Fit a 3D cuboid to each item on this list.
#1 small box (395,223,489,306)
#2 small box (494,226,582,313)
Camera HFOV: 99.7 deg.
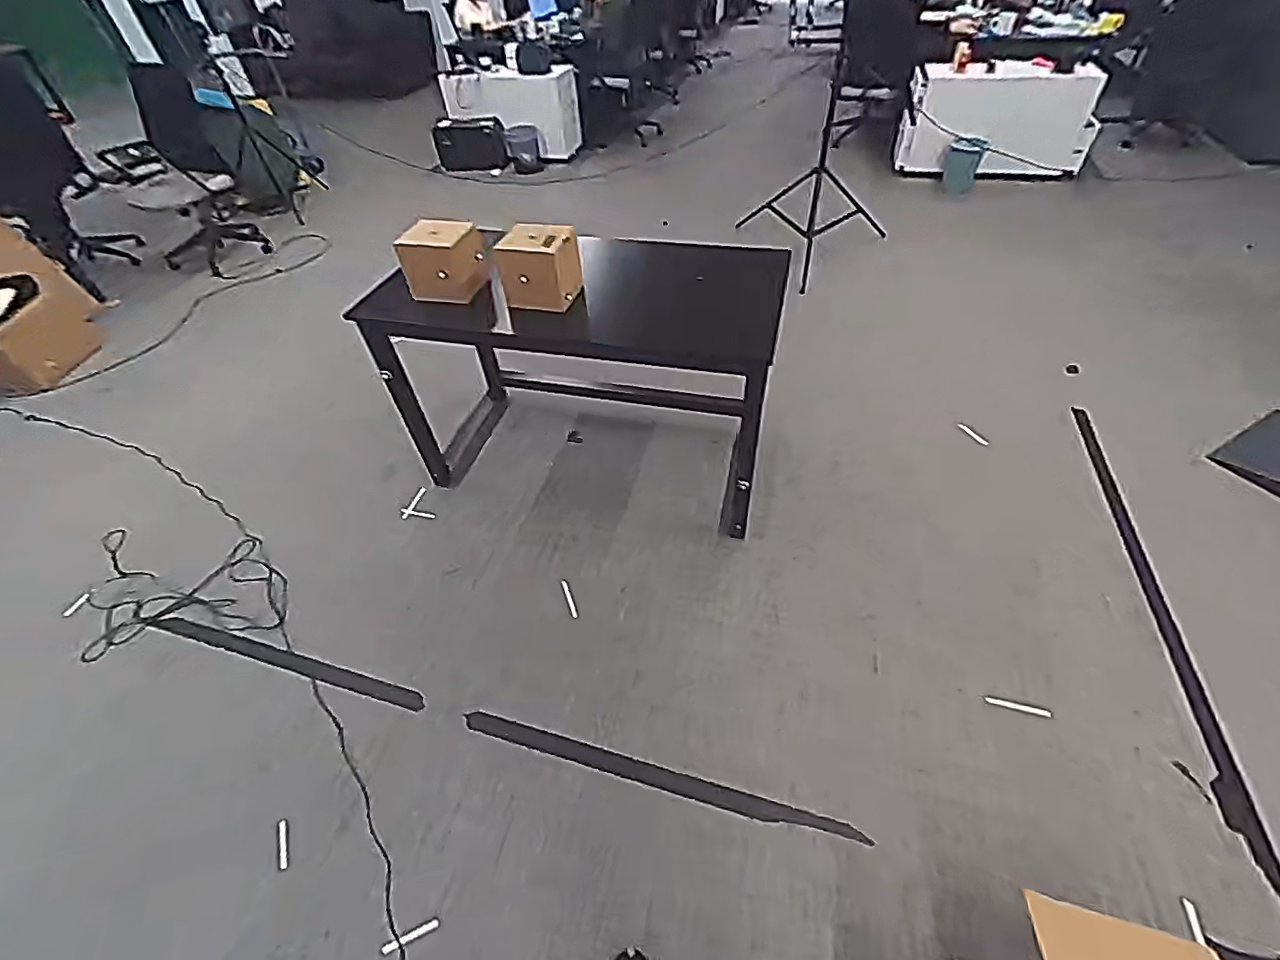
[{"bbox_3d":[-0.560,-0.619,1.559,0.179,0.176,0.168,7,47,11],"label":"small box"},{"bbox_3d":[-0.273,-0.581,1.500,0.179,0.176,0.168,9,48,14],"label":"small box"}]
